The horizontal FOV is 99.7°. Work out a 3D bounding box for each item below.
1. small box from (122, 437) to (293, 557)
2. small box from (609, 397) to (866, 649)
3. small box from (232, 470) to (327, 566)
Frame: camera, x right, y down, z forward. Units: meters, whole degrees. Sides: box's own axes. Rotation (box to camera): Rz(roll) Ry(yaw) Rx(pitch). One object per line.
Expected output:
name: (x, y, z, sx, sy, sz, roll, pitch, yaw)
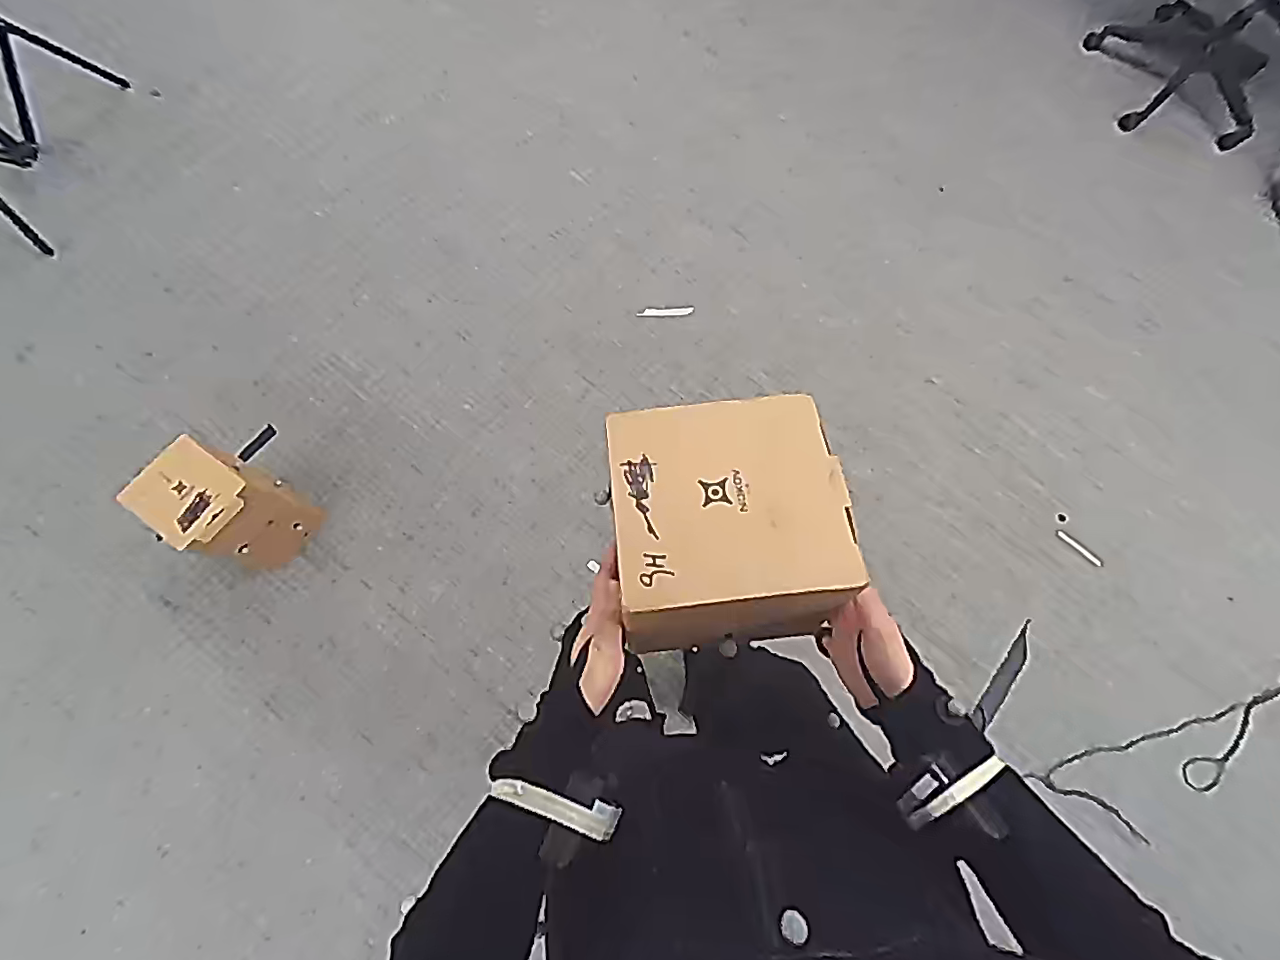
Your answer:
small box: (-0.869, 0.044, 1.110, 0.179, 0.176, 0.168, 35, 76, 5)
small box: (0.066, 0.046, 0.481, 0.179, 0.176, 0.168, -5, 62, -3)
small box: (-0.886, 0.088, 1.267, 0.179, 0.176, 0.168, 34, 75, 5)
